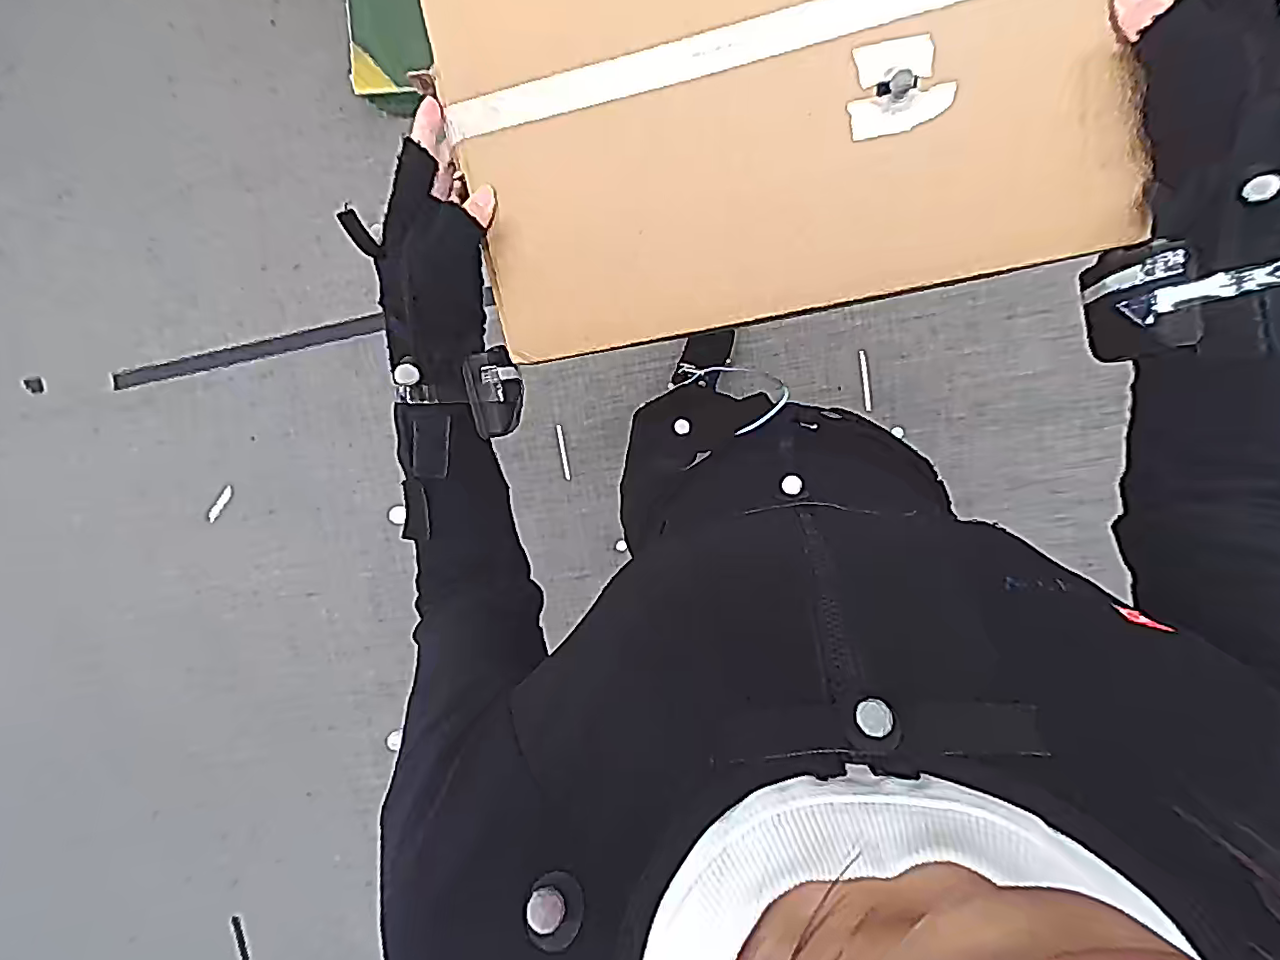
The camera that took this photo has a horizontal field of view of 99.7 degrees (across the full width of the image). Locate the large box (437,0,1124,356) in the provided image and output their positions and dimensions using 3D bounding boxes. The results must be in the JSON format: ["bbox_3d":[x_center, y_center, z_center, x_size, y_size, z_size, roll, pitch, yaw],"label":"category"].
[{"bbox_3d":[0.091,-0.306,0.477,0.408,0.320,0.320,-9,104,8],"label":"large box"}]
